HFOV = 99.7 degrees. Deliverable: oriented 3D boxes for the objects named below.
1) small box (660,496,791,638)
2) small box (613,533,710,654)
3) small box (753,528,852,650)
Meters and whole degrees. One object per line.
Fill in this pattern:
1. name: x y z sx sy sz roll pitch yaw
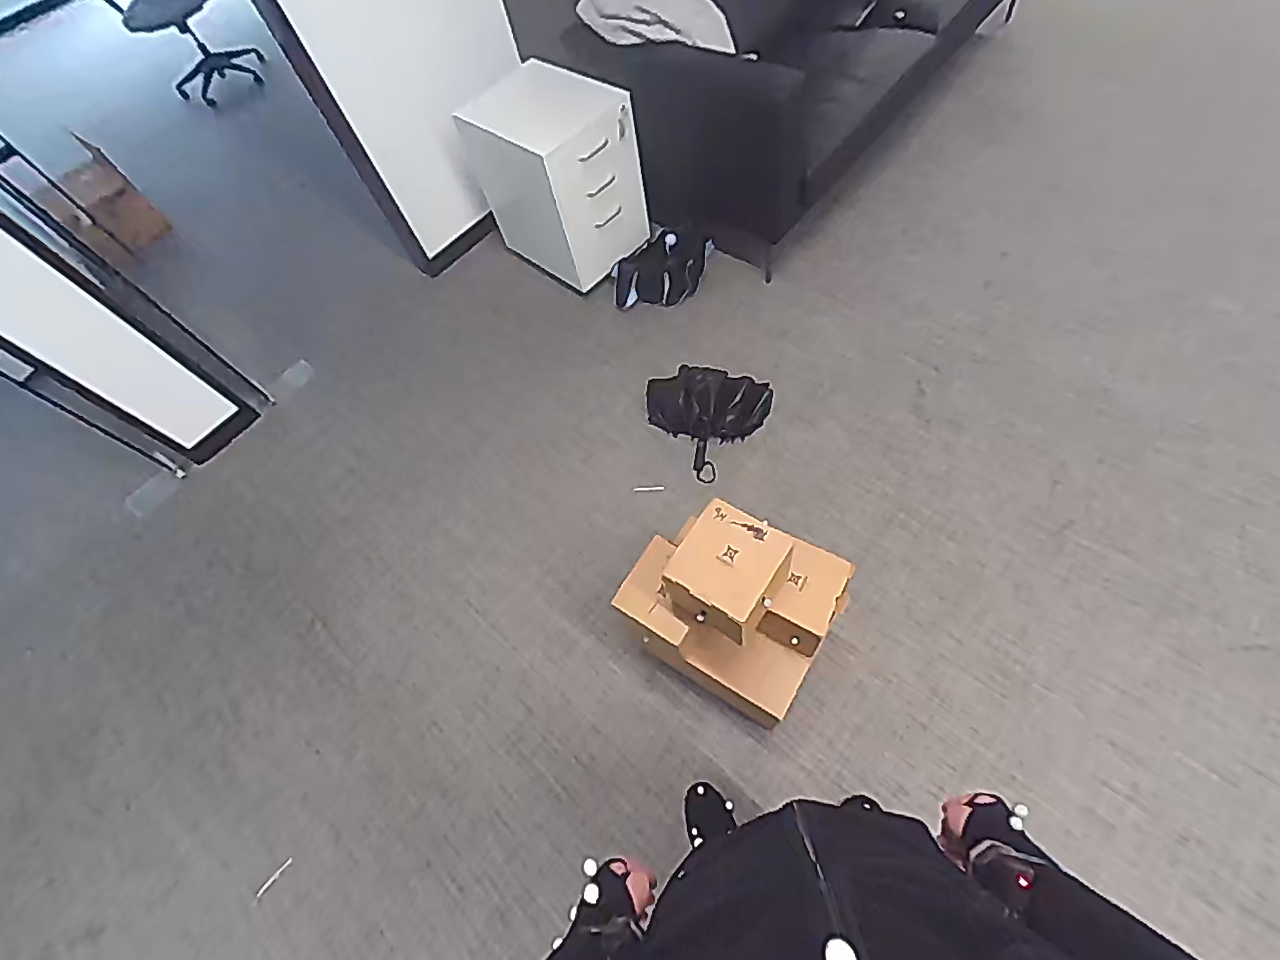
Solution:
1. small box: 0.163 0.167 1.000 0.168 0.176 0.179 30 72 24
2. small box: 0.068 0.249 1.164 0.168 0.176 0.179 29 72 23
3. small box: 0.315 0.234 1.128 0.179 0.176 0.168 24 65 23
